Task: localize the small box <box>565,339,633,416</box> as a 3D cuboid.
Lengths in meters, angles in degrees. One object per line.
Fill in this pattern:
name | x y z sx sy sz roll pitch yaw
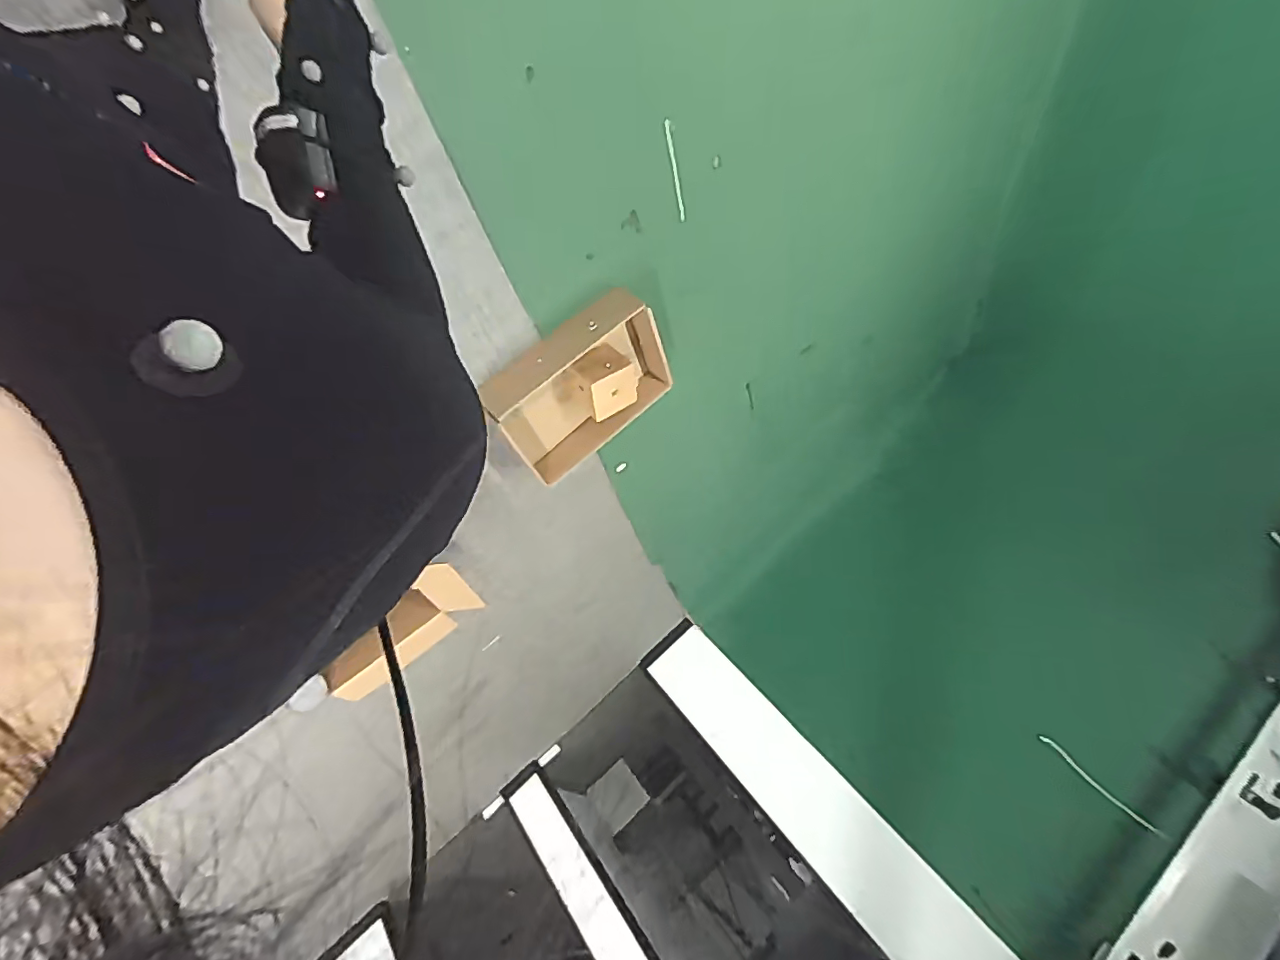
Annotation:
small box | -0.146 -0.360 1.870 0.179 0.176 0.168 -32 144 -21
